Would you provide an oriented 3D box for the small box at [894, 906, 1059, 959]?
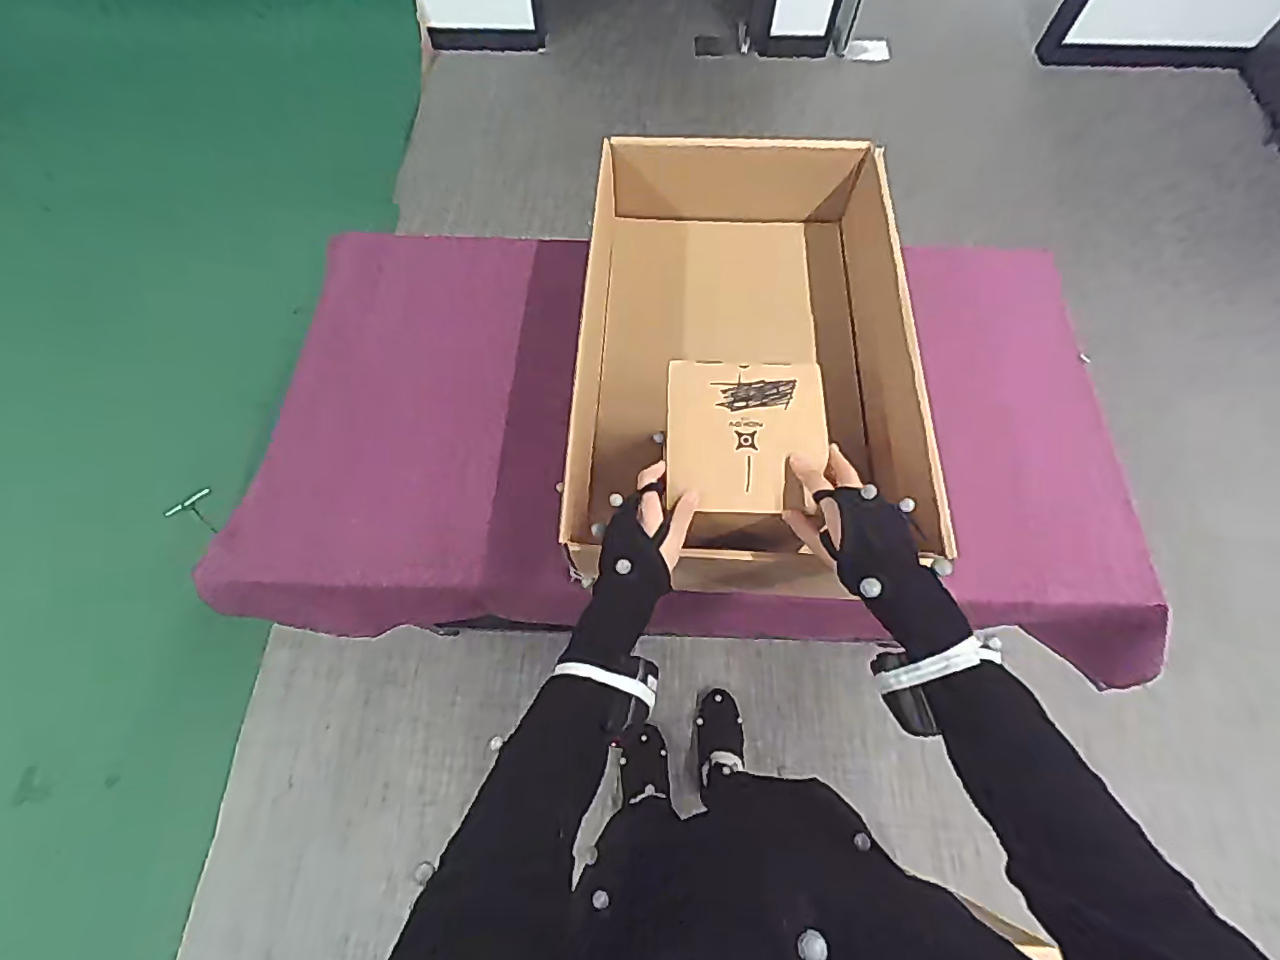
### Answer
[{"bbox_3d":[0.496,0.758,0.796,0.168,0.176,0.179,3,66,2],"label":"small box"}]

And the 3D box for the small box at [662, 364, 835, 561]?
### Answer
[{"bbox_3d":[0.111,-0.014,0.629,0.168,0.176,0.179,1,68,2],"label":"small box"}]
